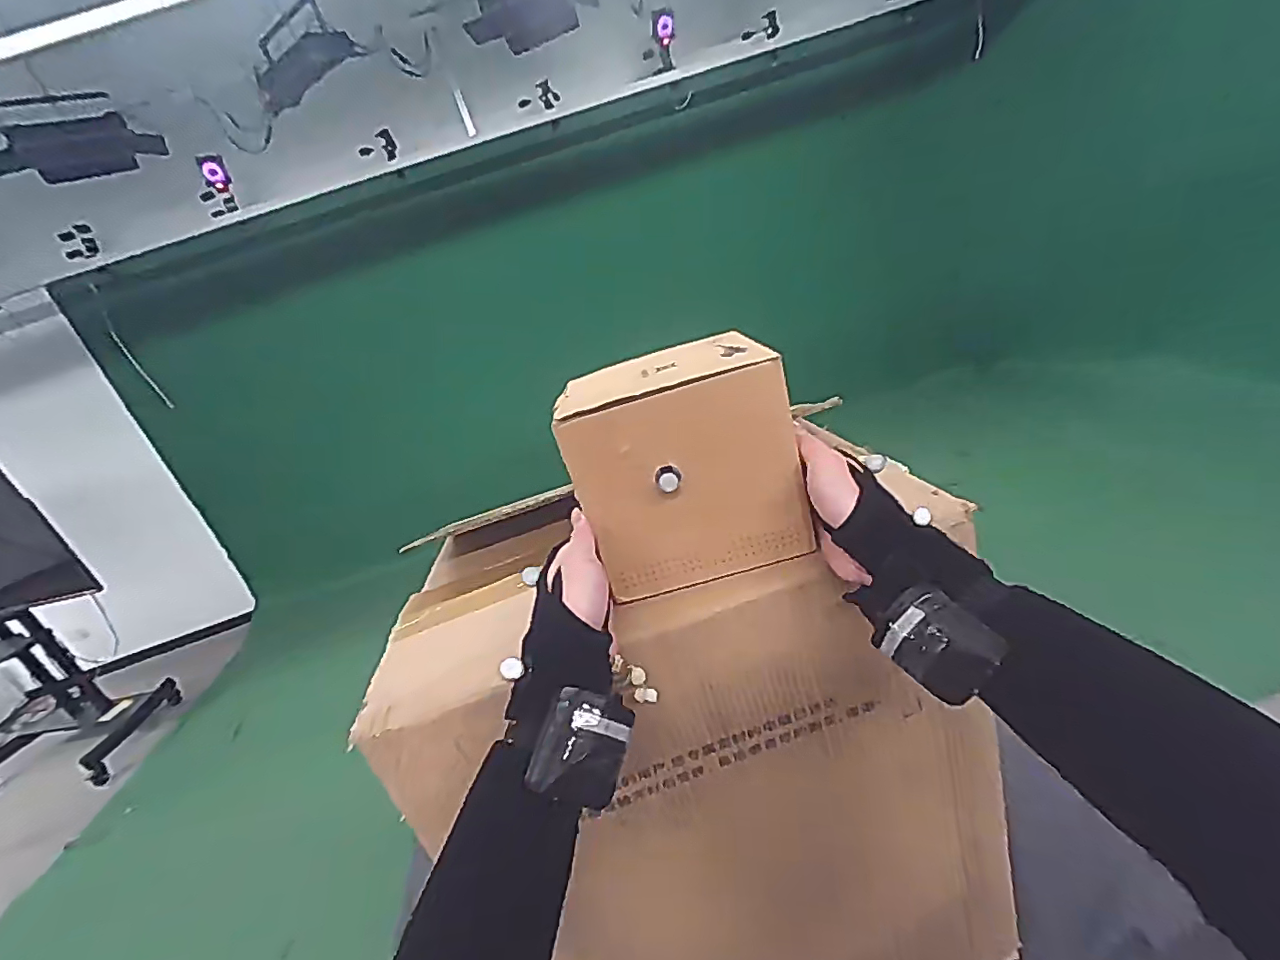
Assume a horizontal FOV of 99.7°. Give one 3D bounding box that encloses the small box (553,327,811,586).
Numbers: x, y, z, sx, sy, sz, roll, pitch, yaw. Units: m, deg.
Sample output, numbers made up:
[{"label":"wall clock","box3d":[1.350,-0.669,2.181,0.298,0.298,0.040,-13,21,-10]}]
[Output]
[{"label":"small box","box3d":[0.038,-0.026,0.499,0.179,0.176,0.168,-16,22,4]}]
